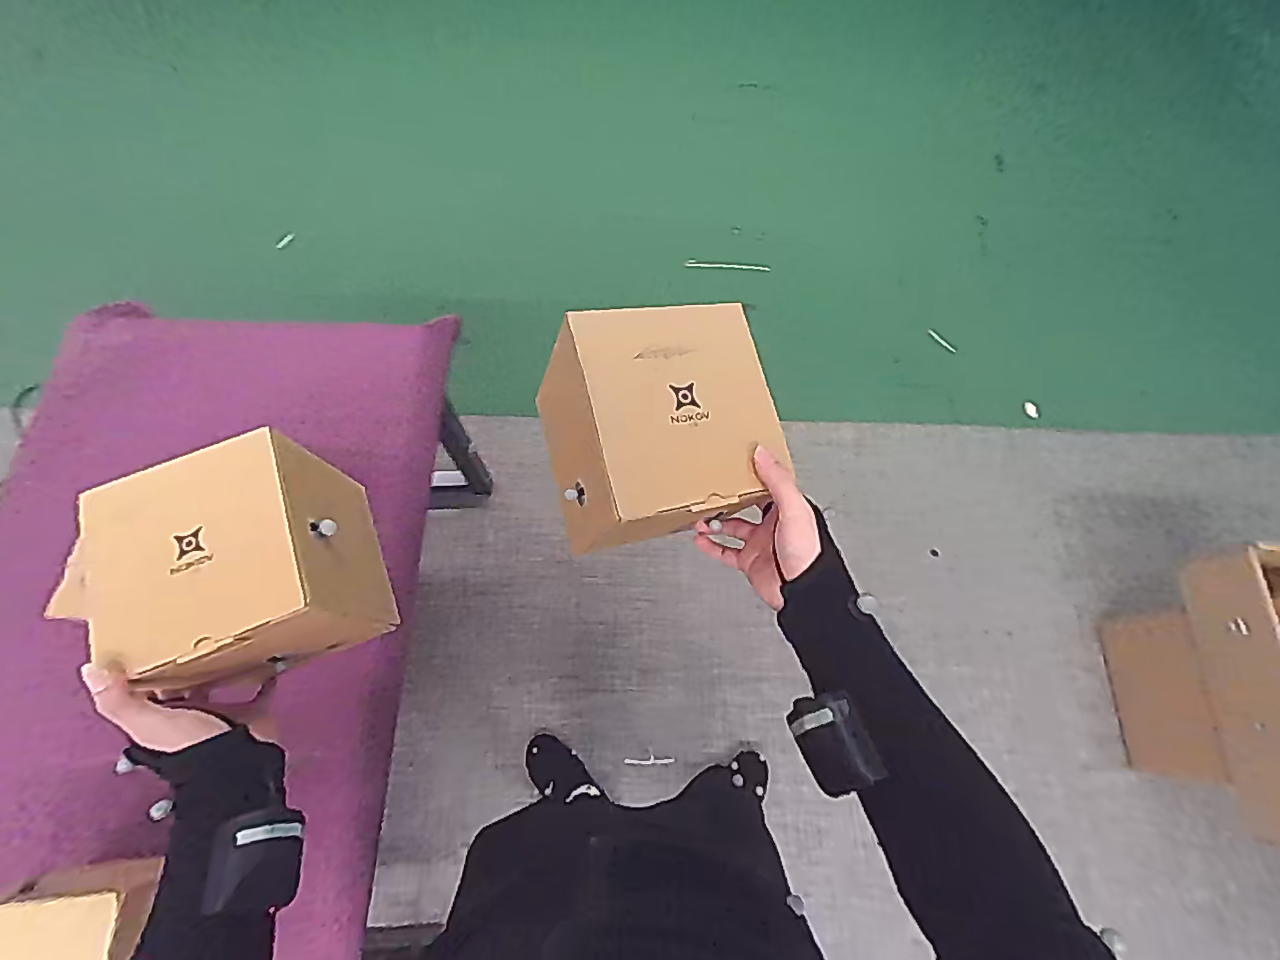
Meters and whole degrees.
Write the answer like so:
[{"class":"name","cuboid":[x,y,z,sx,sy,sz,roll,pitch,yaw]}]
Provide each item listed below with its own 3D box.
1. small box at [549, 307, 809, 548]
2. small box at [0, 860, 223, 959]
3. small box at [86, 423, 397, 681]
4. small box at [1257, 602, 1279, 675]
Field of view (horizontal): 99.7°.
[{"class":"small box","cuboid":[0.021,-0.038,0.504,0.168,0.176,0.179,-8,77,-22]},{"class":"small box","cuboid":[-0.586,0.513,0.554,0.179,0.176,0.168,-3,68,-4]},{"class":"small box","cuboid":[-0.360,0.077,0.515,0.168,0.176,0.179,-21,73,-7]},{"class":"small box","cuboid":[1.529,0.353,1.178,0.168,0.176,0.179,8,66,-1]}]
